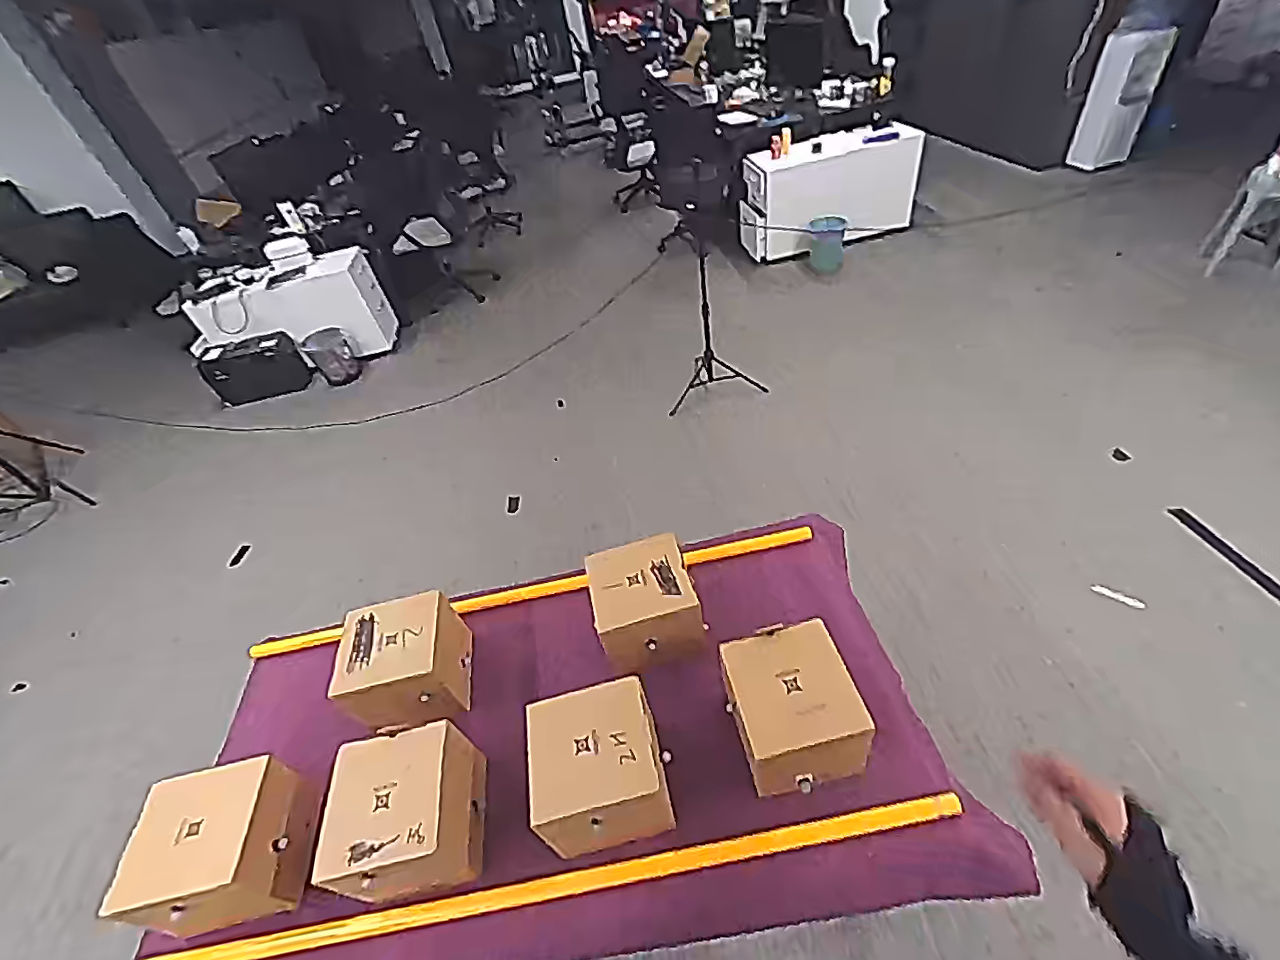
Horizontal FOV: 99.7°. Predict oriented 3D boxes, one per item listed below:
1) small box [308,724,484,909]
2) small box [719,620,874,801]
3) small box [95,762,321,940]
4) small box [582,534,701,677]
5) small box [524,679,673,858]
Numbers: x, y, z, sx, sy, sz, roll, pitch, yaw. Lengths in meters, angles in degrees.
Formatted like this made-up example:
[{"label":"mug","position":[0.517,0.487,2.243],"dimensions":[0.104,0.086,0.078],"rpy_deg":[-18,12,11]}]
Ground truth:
[{"label":"small box","position":[-0.340,0.495,0.797],"dimensions":[0.168,0.176,0.179],"rpy_deg":[-15,43,0]},{"label":"small box","position":[0.225,0.345,0.813],"dimensions":[0.168,0.176,0.179],"rpy_deg":[-15,41,0]},{"label":"small box","position":[-0.615,0.552,0.804],"dimensions":[0.179,0.176,0.168],"rpy_deg":[-14,43,-2]},{"label":"small box","position":[0.007,0.231,0.986],"dimensions":[0.179,0.176,0.168],"rpy_deg":[-16,44,-2]},{"label":"small box","position":[-0.061,0.428,0.798],"dimensions":[0.179,0.176,0.168],"rpy_deg":[-14,42,-1]}]
